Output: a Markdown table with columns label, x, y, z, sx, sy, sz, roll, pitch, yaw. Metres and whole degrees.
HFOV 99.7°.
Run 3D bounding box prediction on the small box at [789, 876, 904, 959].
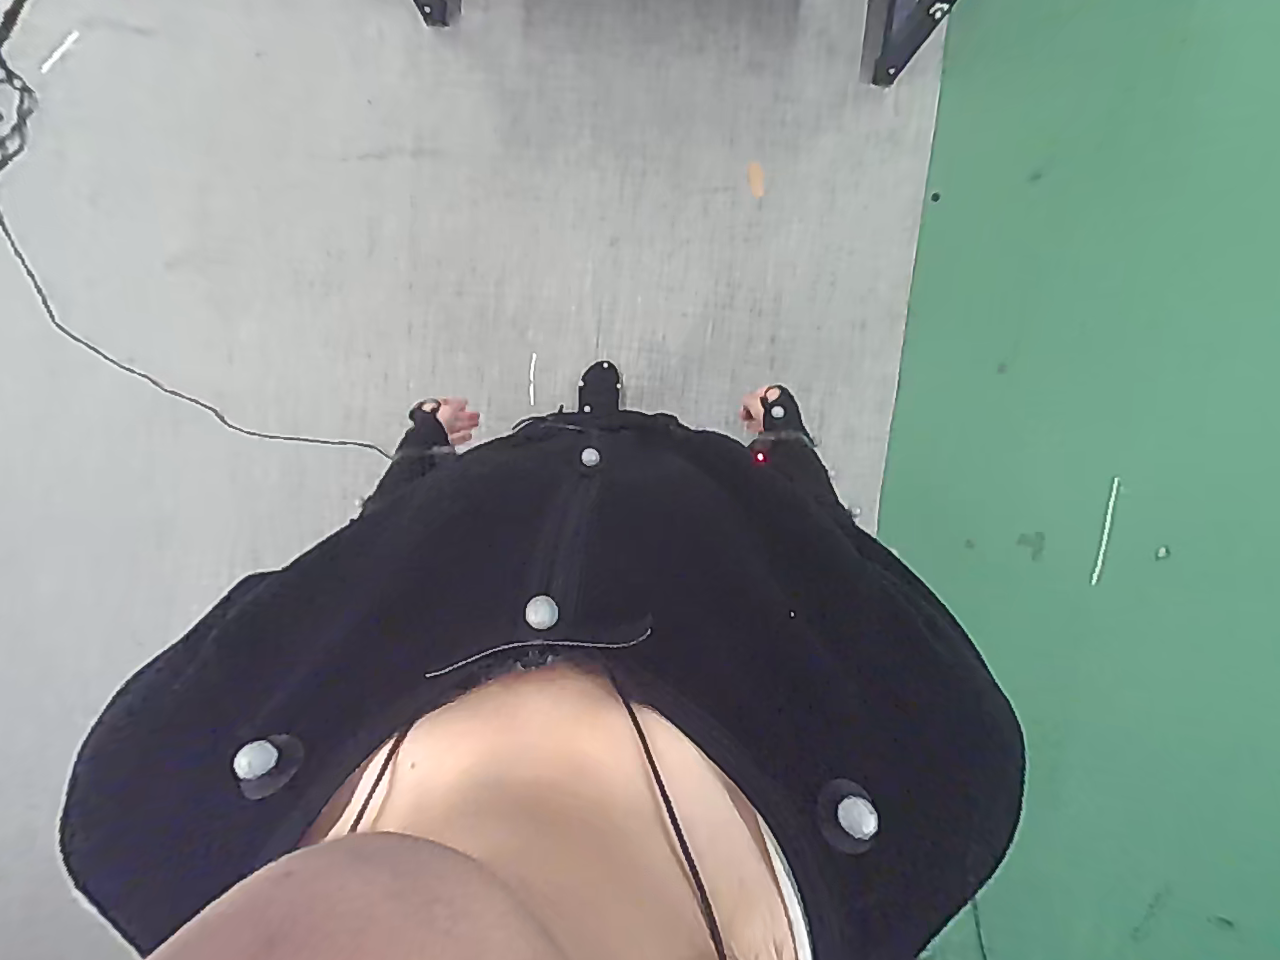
| label | x | y | z | sx | sy | sz | roll | pitch | yaw |
| --- | --- | --- | --- | --- | --- | --- | --- | --- | --- |
| small box | 0.403 | 0.928 | 1.064 | 0.179 | 0.176 | 0.168 | -10 | 97 | 0 |

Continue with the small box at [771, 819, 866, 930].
| label | x | y | z | sx | sy | sz | roll | pitch | yaw |
| --- | --- | --- | --- | --- | --- | --- | --- | --- | --- |
| small box | 0.404 | 0.904 | 1.226 | 0.168 | 0.176 | 0.179 | -9 | 97 | 1 |
